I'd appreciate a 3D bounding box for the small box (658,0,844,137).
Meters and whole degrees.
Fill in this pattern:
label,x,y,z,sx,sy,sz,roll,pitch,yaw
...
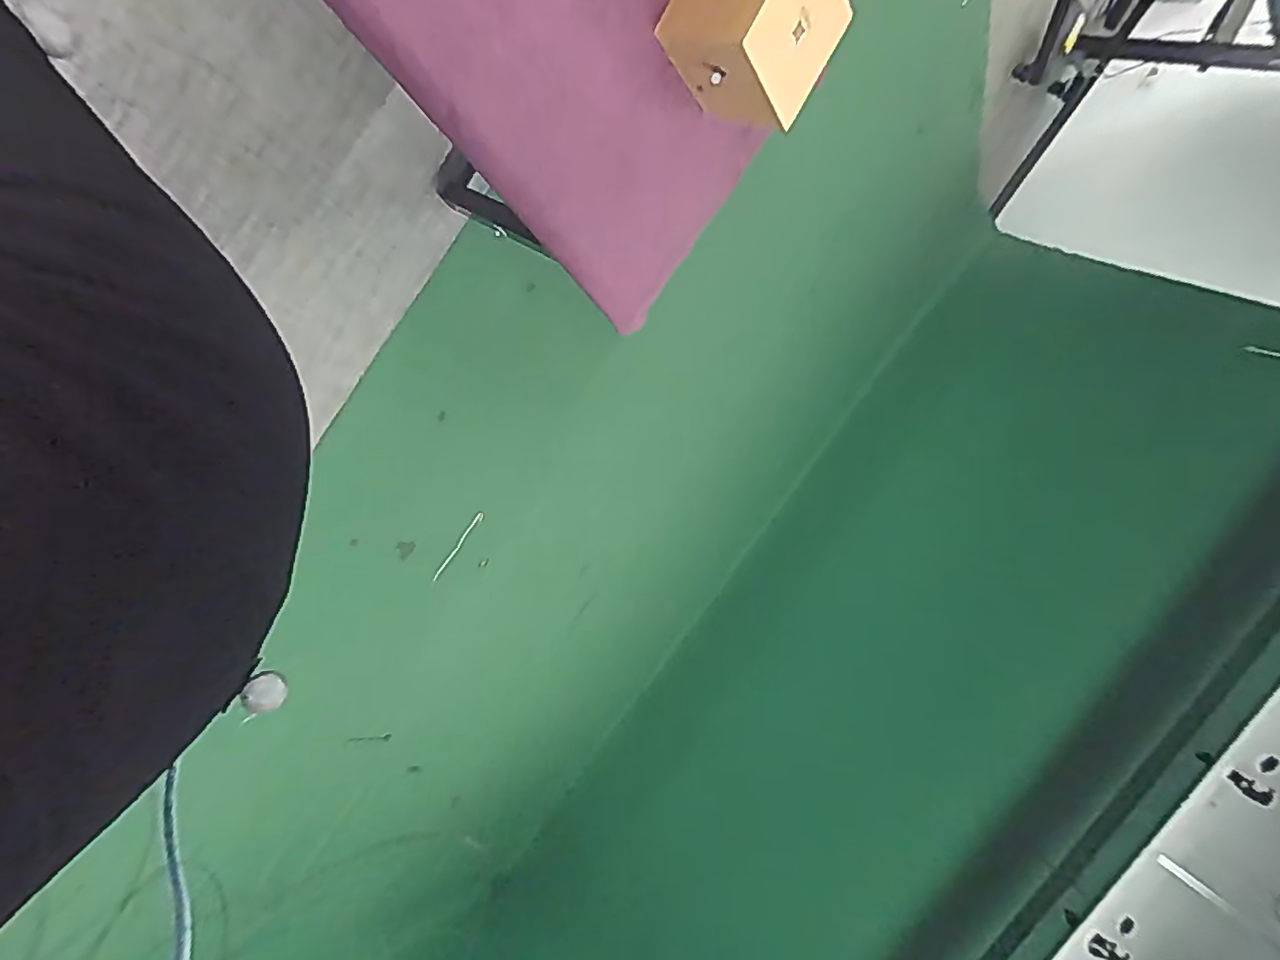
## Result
label,x,y,z,sx,sy,sz,roll,pitch,yaw
small box,0.150,-0.631,0.764,0.168,0.176,0.179,16,107,-55
